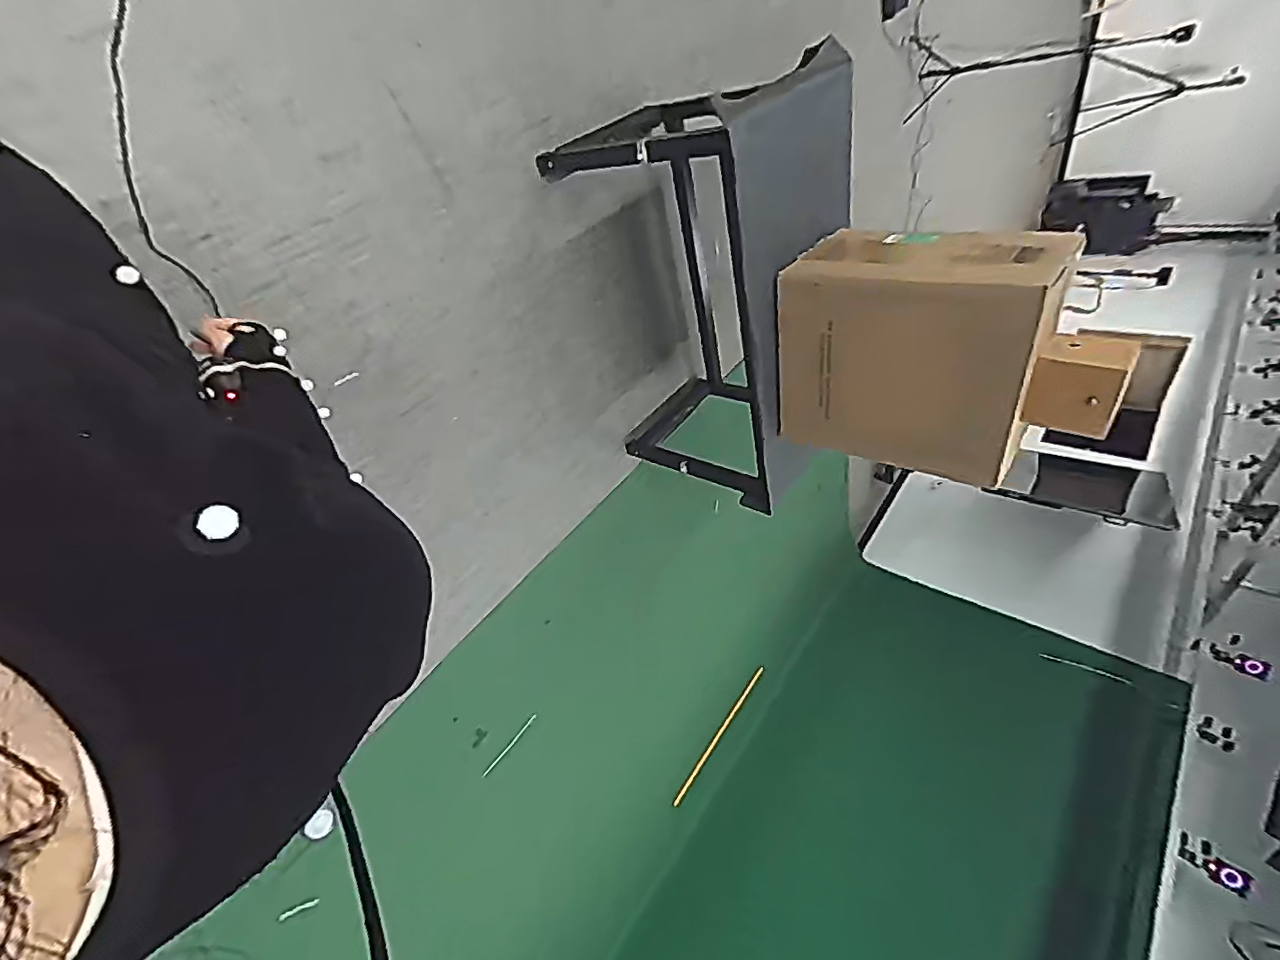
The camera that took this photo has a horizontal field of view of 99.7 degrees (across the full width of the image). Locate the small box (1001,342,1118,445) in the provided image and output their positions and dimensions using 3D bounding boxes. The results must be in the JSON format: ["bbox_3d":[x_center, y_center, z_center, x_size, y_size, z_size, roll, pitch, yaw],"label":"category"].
[{"bbox_3d":[0.993,-0.213,1.294,0.168,0.176,0.179,-37,132,-33],"label":"small box"}]
